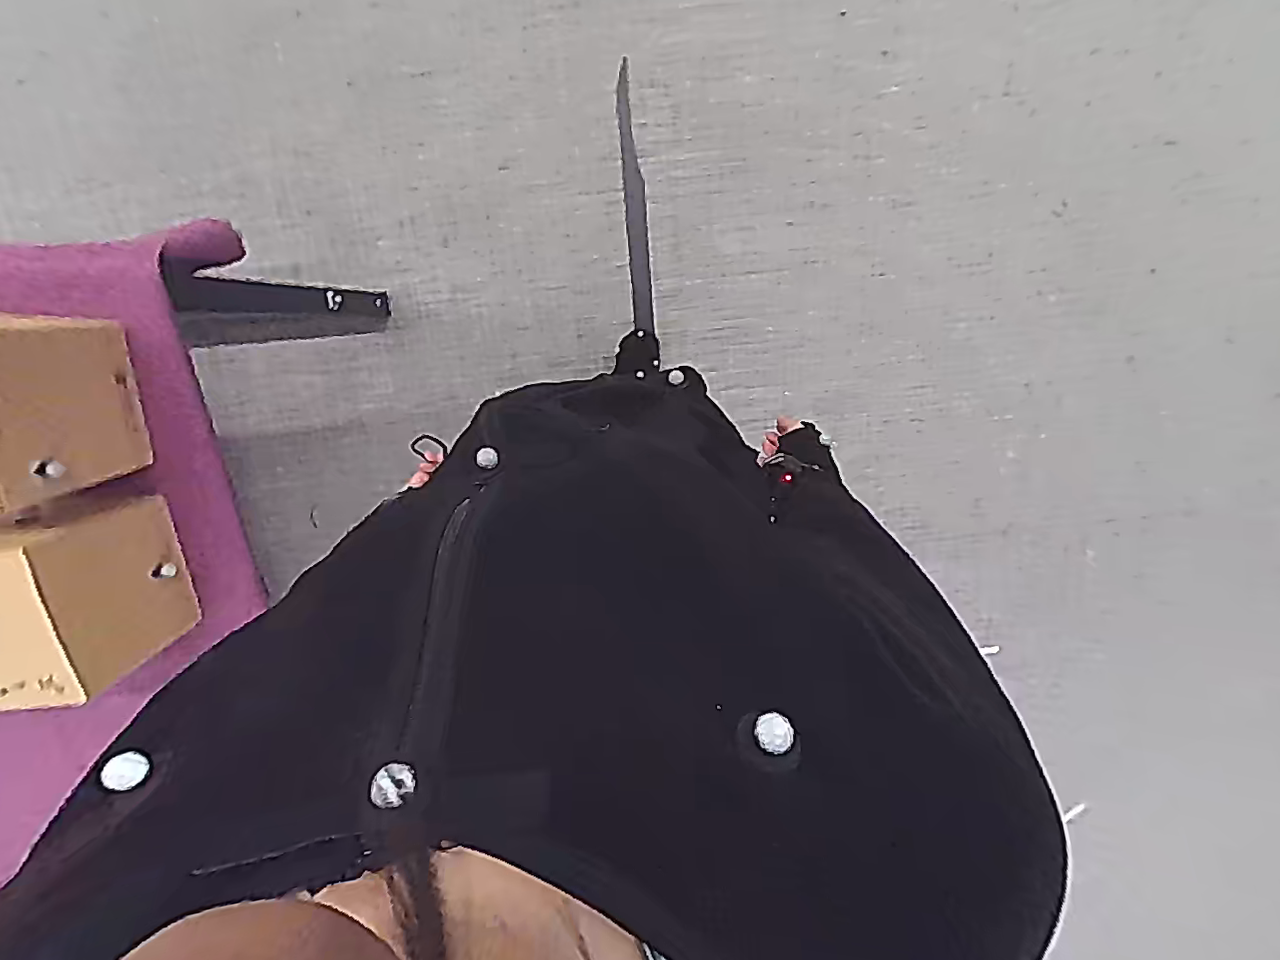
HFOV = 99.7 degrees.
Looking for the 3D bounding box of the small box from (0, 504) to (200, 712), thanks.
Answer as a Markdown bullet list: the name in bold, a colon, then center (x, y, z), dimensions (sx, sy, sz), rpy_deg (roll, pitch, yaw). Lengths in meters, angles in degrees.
- **small box**: center (-0.652, 0.131, 0.606), dimensions (0.168, 0.176, 0.179), rpy_deg (-4, 106, -2)
